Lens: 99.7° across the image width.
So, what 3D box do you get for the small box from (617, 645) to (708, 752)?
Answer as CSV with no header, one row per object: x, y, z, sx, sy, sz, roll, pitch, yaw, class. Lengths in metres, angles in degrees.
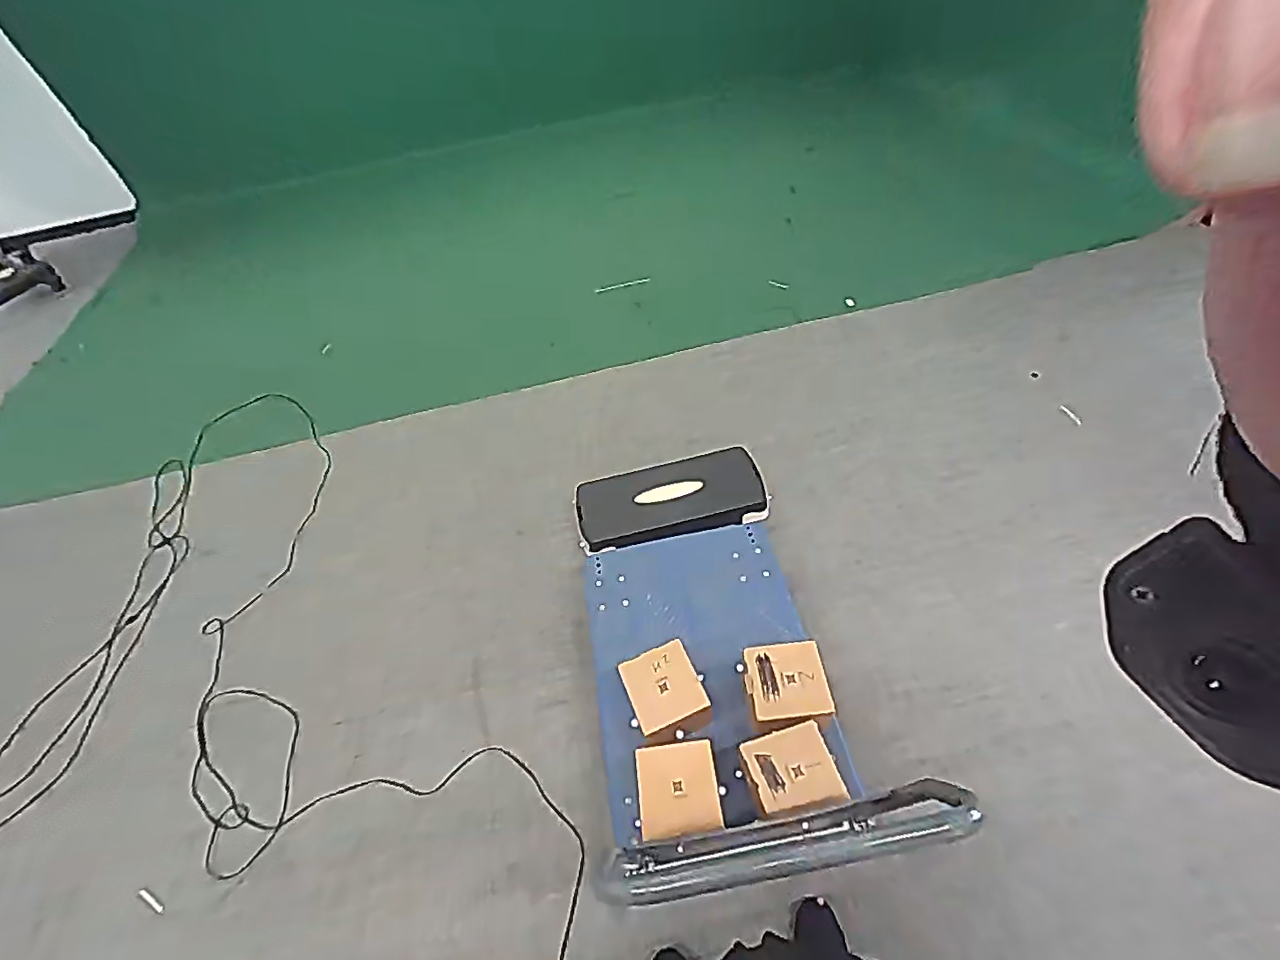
0.057,0.536,1.311,0.168,0.176,0.179,-20,51,-10,small box
